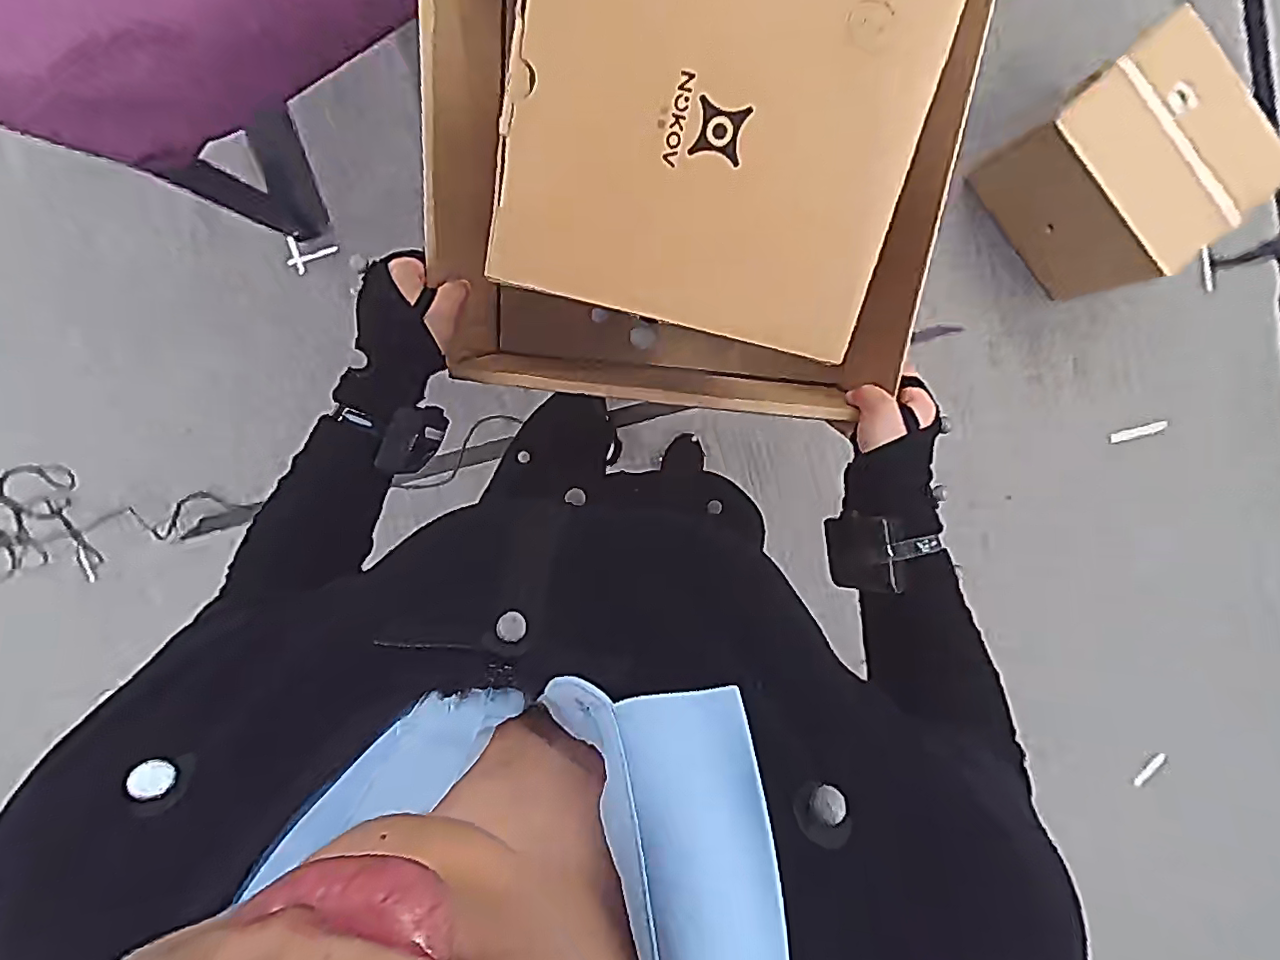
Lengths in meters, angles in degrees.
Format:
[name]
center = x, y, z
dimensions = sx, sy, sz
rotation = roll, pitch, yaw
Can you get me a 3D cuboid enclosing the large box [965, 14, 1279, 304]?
[large box]
center = 1.053, -0.673, 1.216
dimensions = 0.320, 0.320, 0.408
rotation = -42, 95, 5
